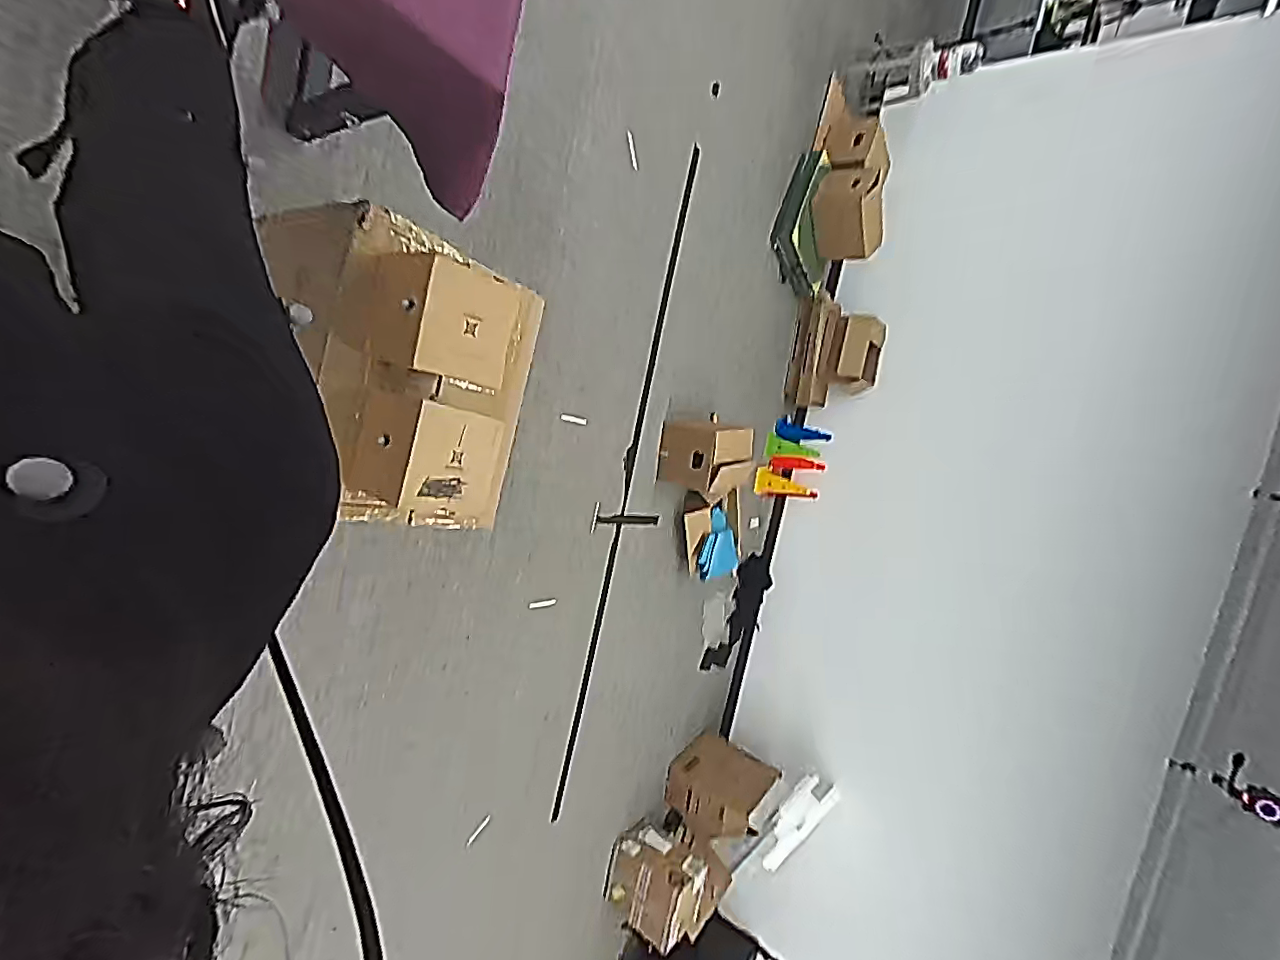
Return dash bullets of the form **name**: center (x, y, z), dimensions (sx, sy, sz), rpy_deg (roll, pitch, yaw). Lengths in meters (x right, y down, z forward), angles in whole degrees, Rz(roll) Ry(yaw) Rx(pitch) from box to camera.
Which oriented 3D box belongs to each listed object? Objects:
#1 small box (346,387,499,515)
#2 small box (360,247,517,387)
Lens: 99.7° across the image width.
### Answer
- **small box**: center (-0.376, -0.050, 0.929), dimensions (0.168, 0.176, 0.179), rpy_deg (14, 90, -55)
- **small box**: center (-0.338, -0.269, 0.900), dimensions (0.168, 0.176, 0.179), rpy_deg (8, 98, -54)
